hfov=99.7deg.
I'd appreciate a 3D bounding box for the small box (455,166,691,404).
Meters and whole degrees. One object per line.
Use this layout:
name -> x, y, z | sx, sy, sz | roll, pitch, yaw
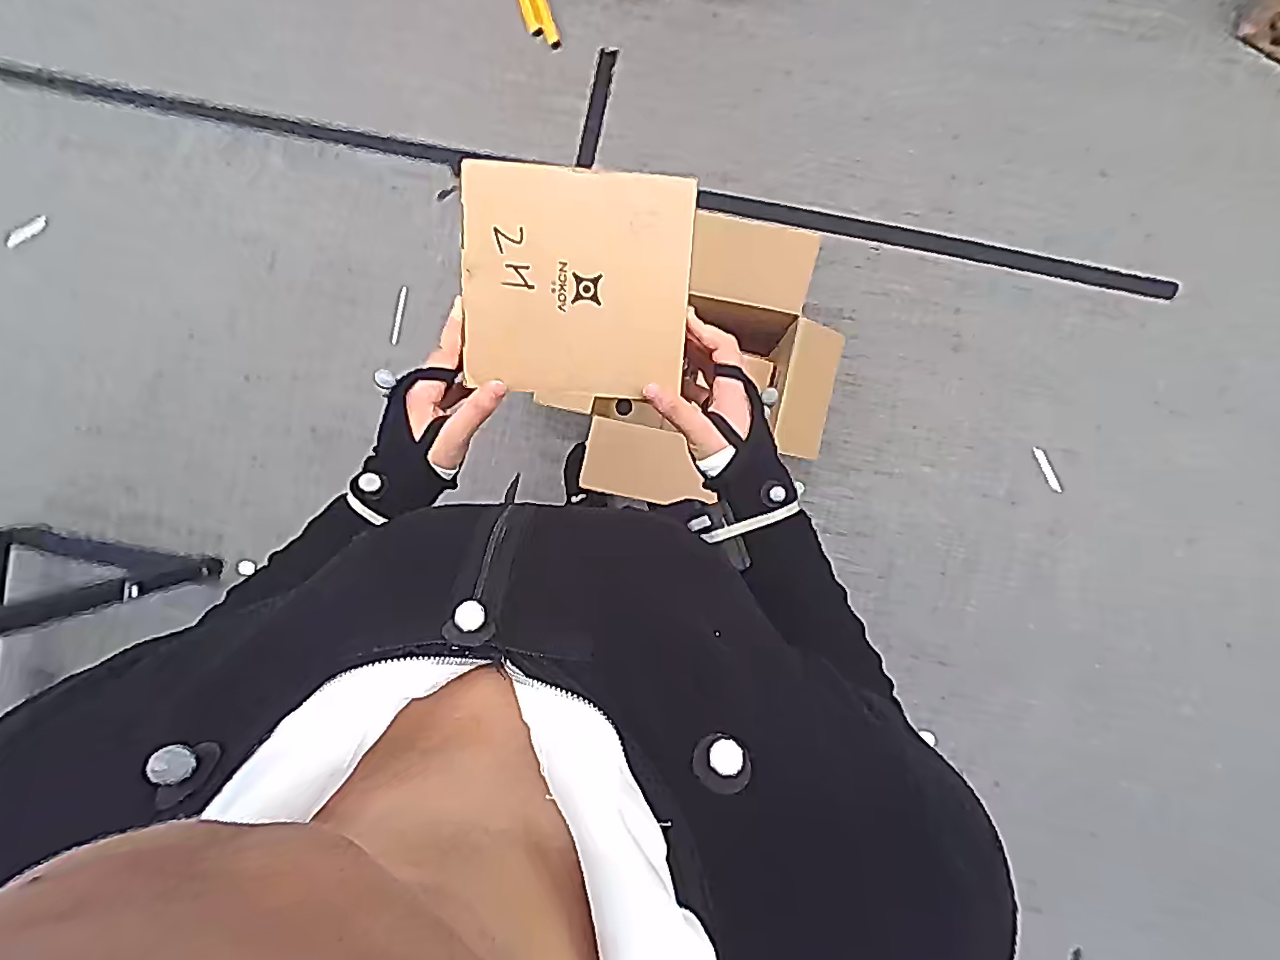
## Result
small box -> -0.056, -0.164, 0.492 | 0.179, 0.176, 0.168 | 3, 103, -2
